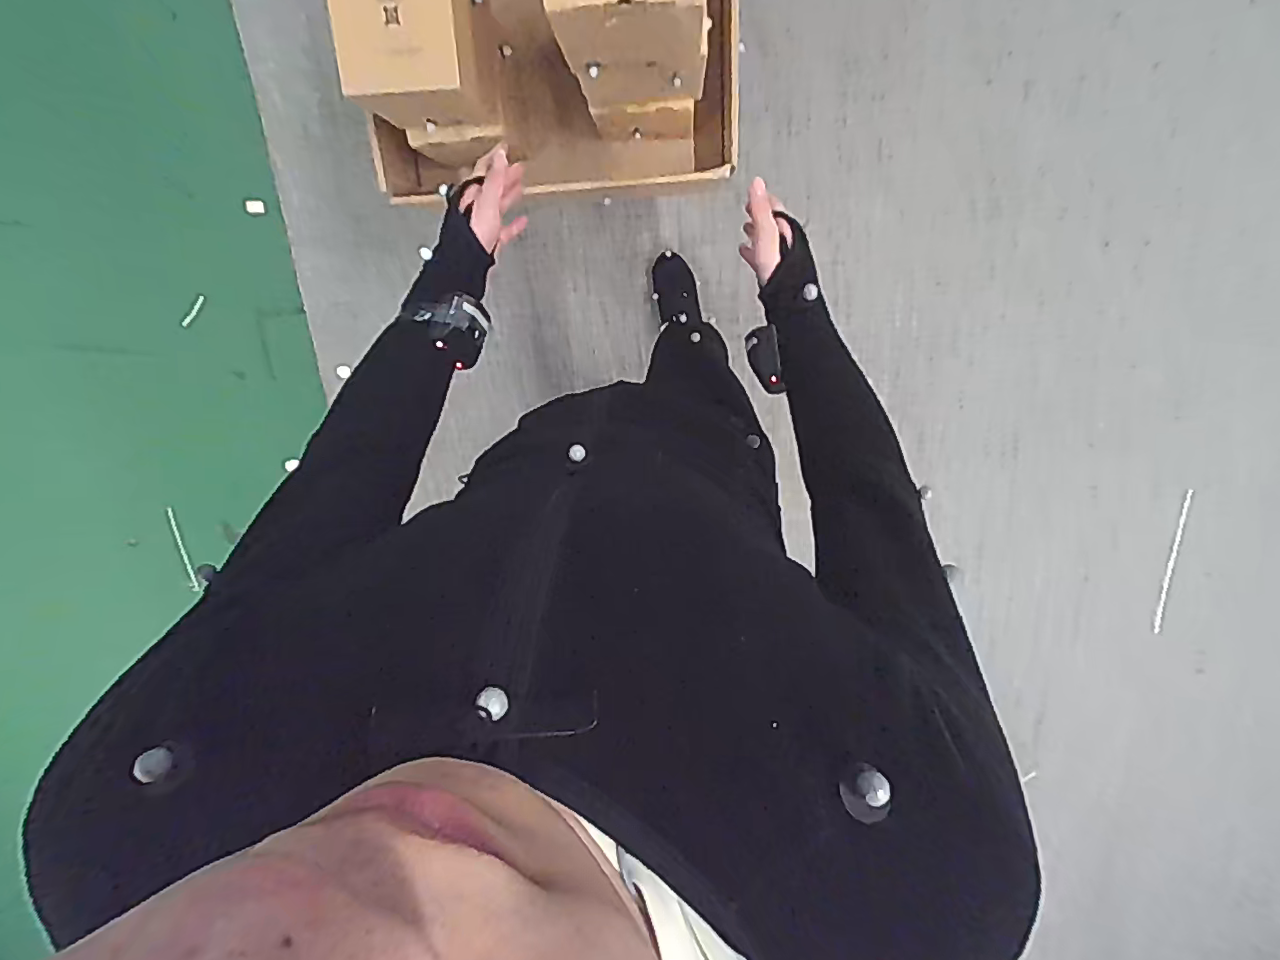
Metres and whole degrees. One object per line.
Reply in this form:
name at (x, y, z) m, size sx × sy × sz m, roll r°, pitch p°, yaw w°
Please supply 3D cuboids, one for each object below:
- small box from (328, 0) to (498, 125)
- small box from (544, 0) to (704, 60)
small box at (-0.309, -0.627, 0.761) m, size 0.168 × 0.176 × 0.179 m, roll 1°, pitch 108°, yaw 5°
small box at (-0.012, -0.583, 0.582) m, size 0.168 × 0.176 × 0.179 m, roll 0°, pitch 108°, yaw 3°
